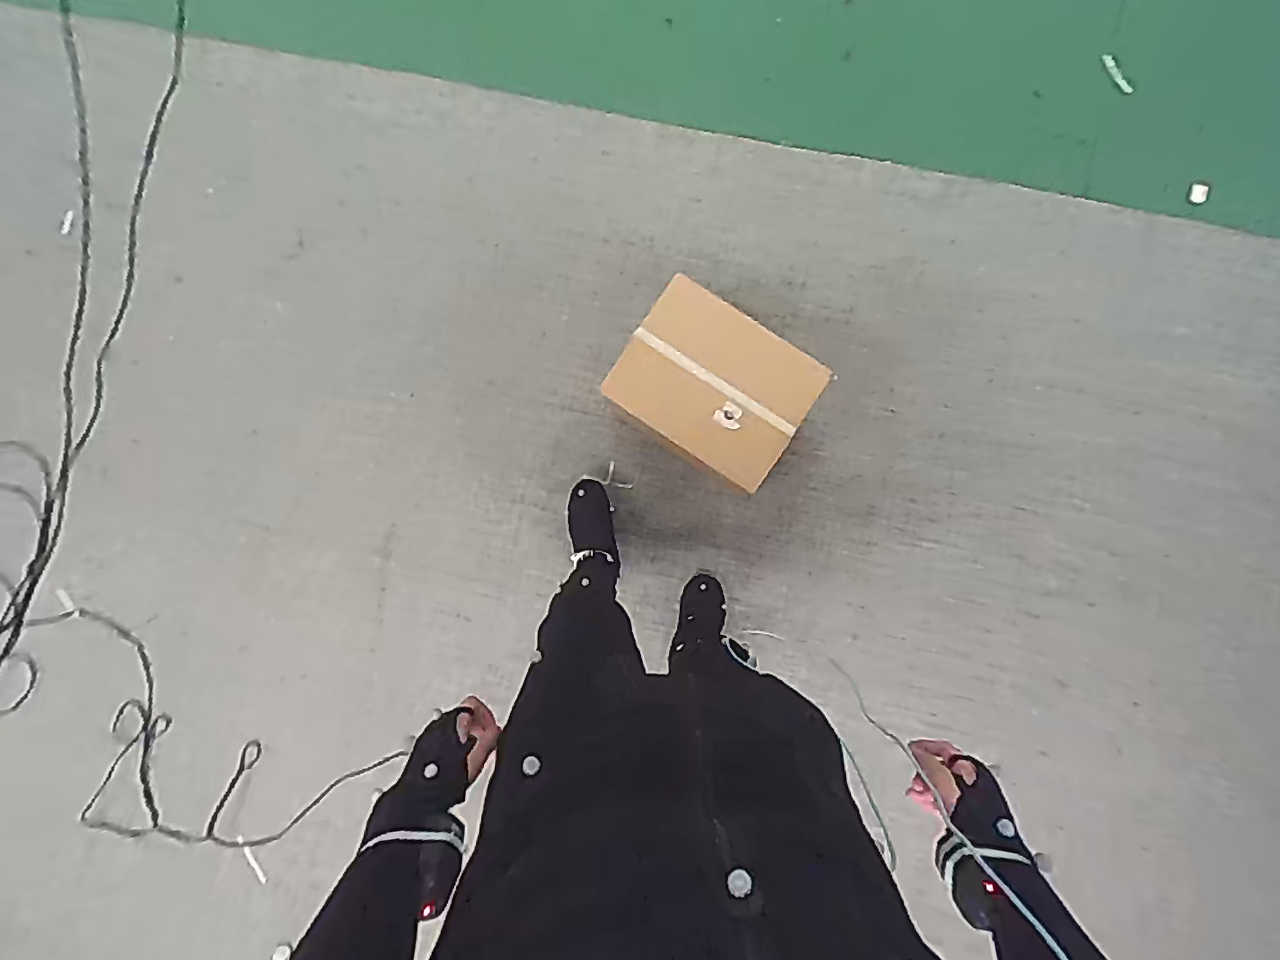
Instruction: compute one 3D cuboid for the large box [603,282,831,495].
[{"bbox_3d":[0.169,-0.198,1.315,0.408,0.320,0.320,34,90,4],"label":"large box"}]
